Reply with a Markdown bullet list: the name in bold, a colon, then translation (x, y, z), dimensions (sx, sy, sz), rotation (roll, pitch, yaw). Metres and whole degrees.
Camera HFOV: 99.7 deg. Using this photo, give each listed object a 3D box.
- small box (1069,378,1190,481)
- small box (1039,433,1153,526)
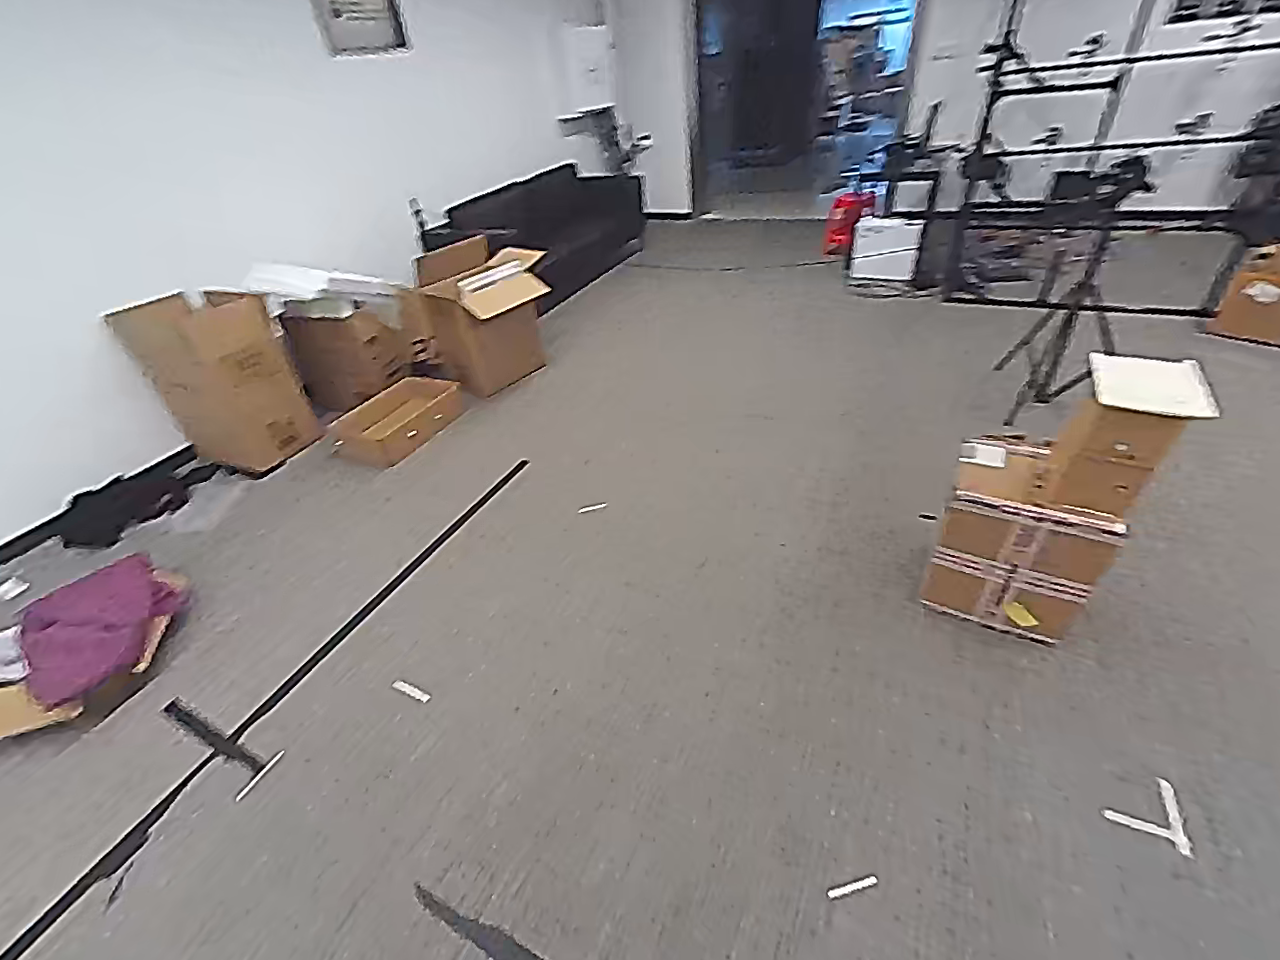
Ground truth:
- **small box**: translation (1.194, -0.127, 1.337), dimensions (0.168, 0.176, 0.179), rotation (16, 44, 24)
- **small box**: translation (1.203, -0.001, 1.441), dimensions (0.179, 0.176, 0.168), rotation (13, 42, 22)
